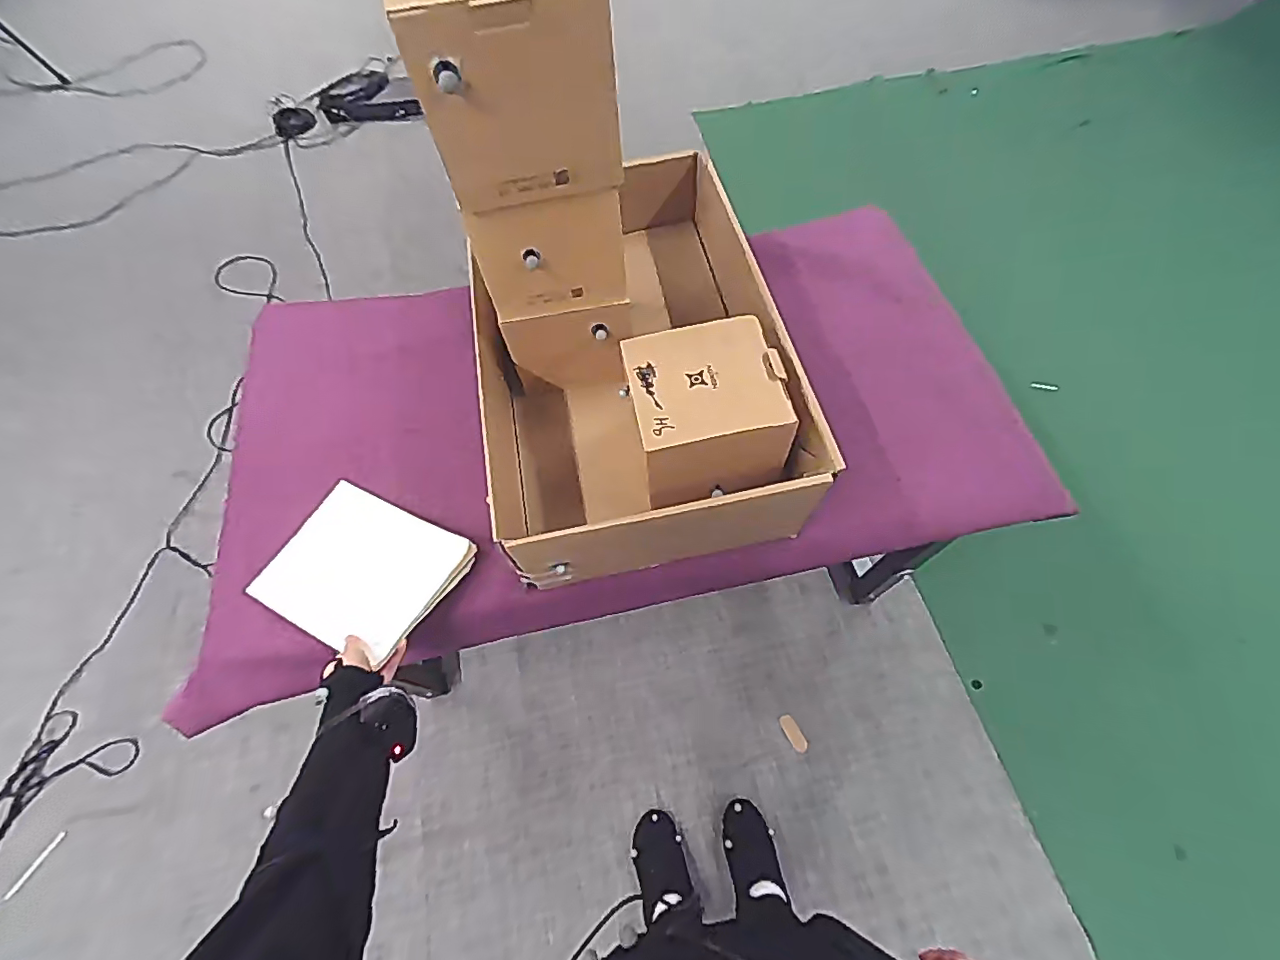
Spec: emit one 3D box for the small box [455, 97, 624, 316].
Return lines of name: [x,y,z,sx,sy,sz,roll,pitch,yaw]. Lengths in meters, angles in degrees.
small box: [-0.116,-0.321,0.663,0.168,0.176,0.179,-10,63,-2]
